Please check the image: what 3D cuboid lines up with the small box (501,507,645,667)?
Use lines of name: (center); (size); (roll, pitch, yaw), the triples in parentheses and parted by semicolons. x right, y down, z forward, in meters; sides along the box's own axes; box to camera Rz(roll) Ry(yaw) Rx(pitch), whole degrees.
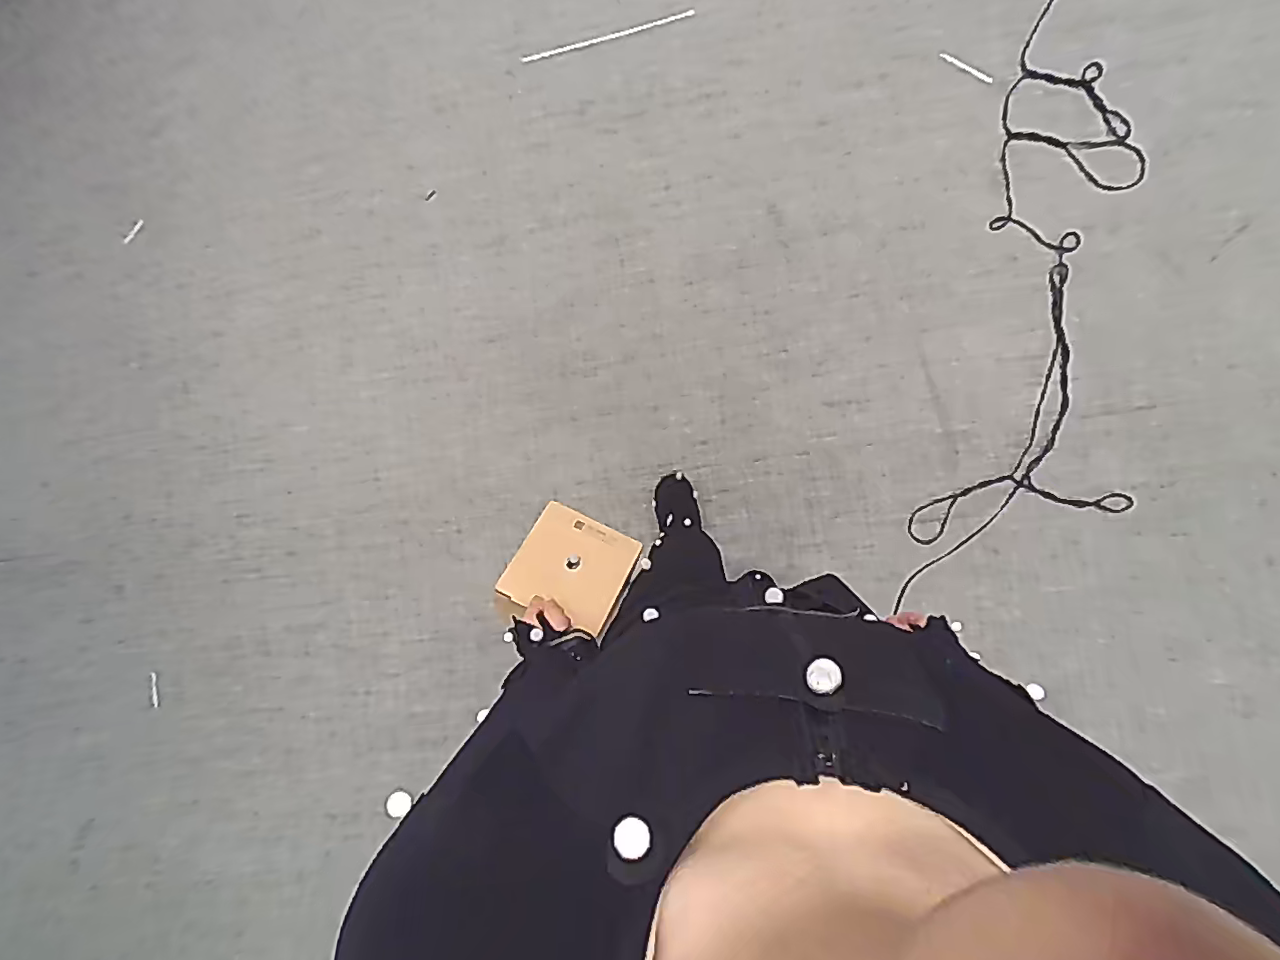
small box: (-0.104, 0.172, 0.874); (0.168, 0.179, 0.176); (25, 58, 7)
